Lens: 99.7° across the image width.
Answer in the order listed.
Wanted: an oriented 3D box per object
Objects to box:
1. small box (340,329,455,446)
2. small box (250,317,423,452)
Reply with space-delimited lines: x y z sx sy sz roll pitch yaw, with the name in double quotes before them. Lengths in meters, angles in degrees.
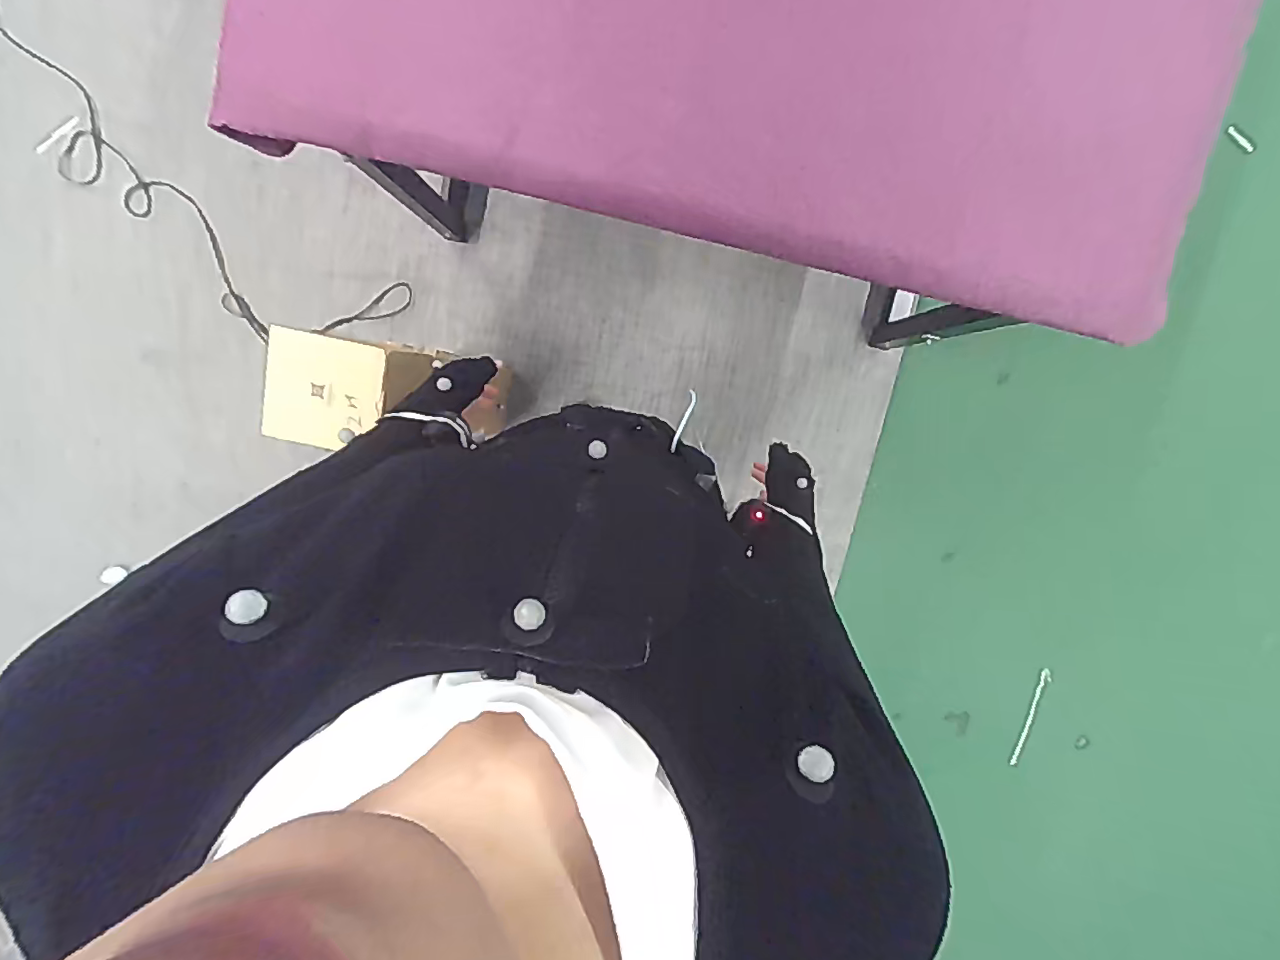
"small box" -0.469 -0.177 1.036 0.168 0.176 0.179 13 101 -3
"small box" -0.479 -0.152 0.873 0.179 0.176 0.168 13 101 -3
